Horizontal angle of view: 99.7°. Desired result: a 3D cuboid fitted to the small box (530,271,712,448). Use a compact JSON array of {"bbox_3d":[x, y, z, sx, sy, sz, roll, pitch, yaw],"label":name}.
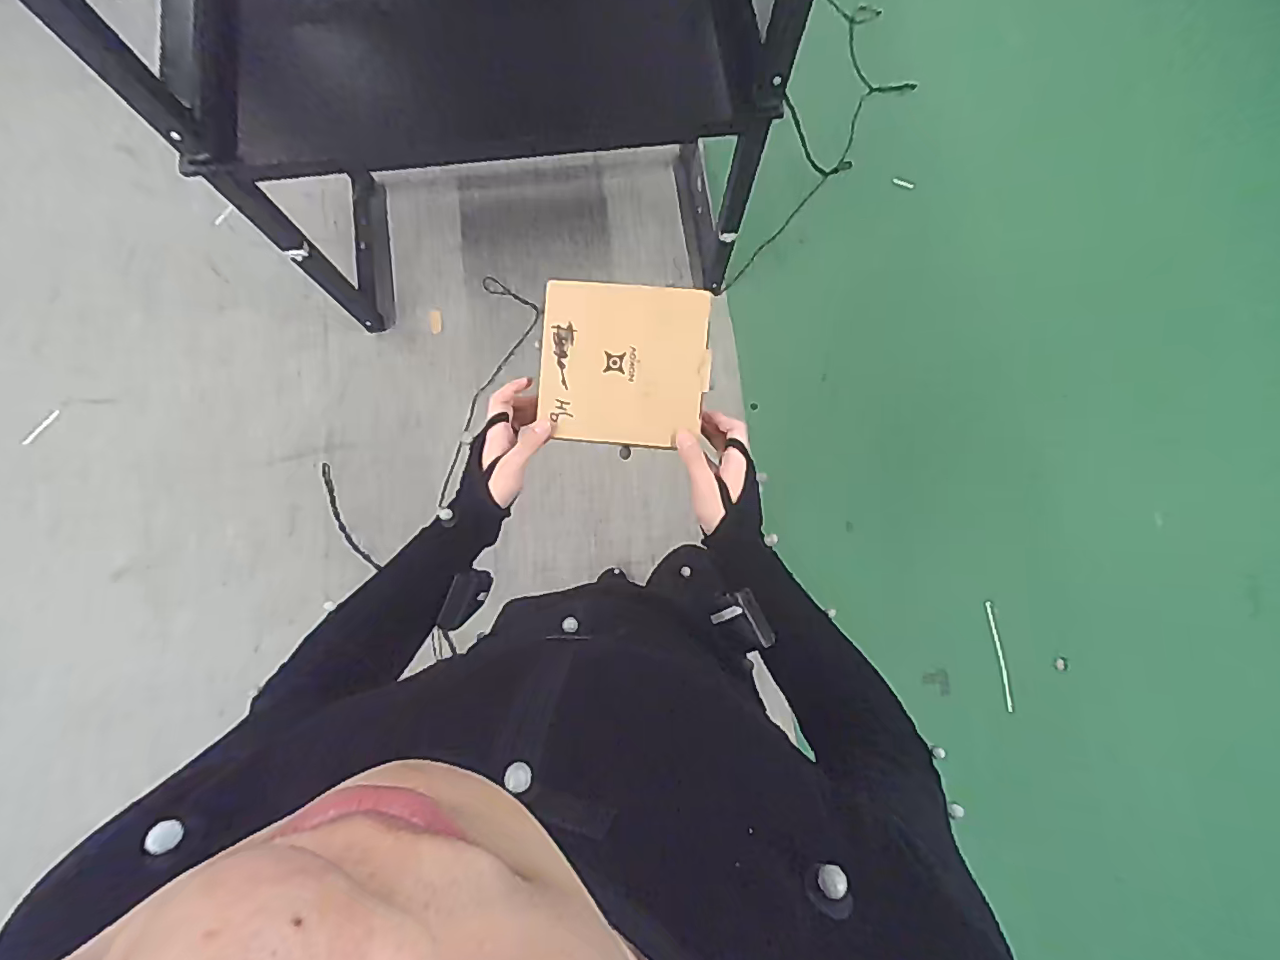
[{"bbox_3d":[-0.018,-0.128,0.637,0.179,0.176,0.168,6,91,2],"label":"small box"}]
